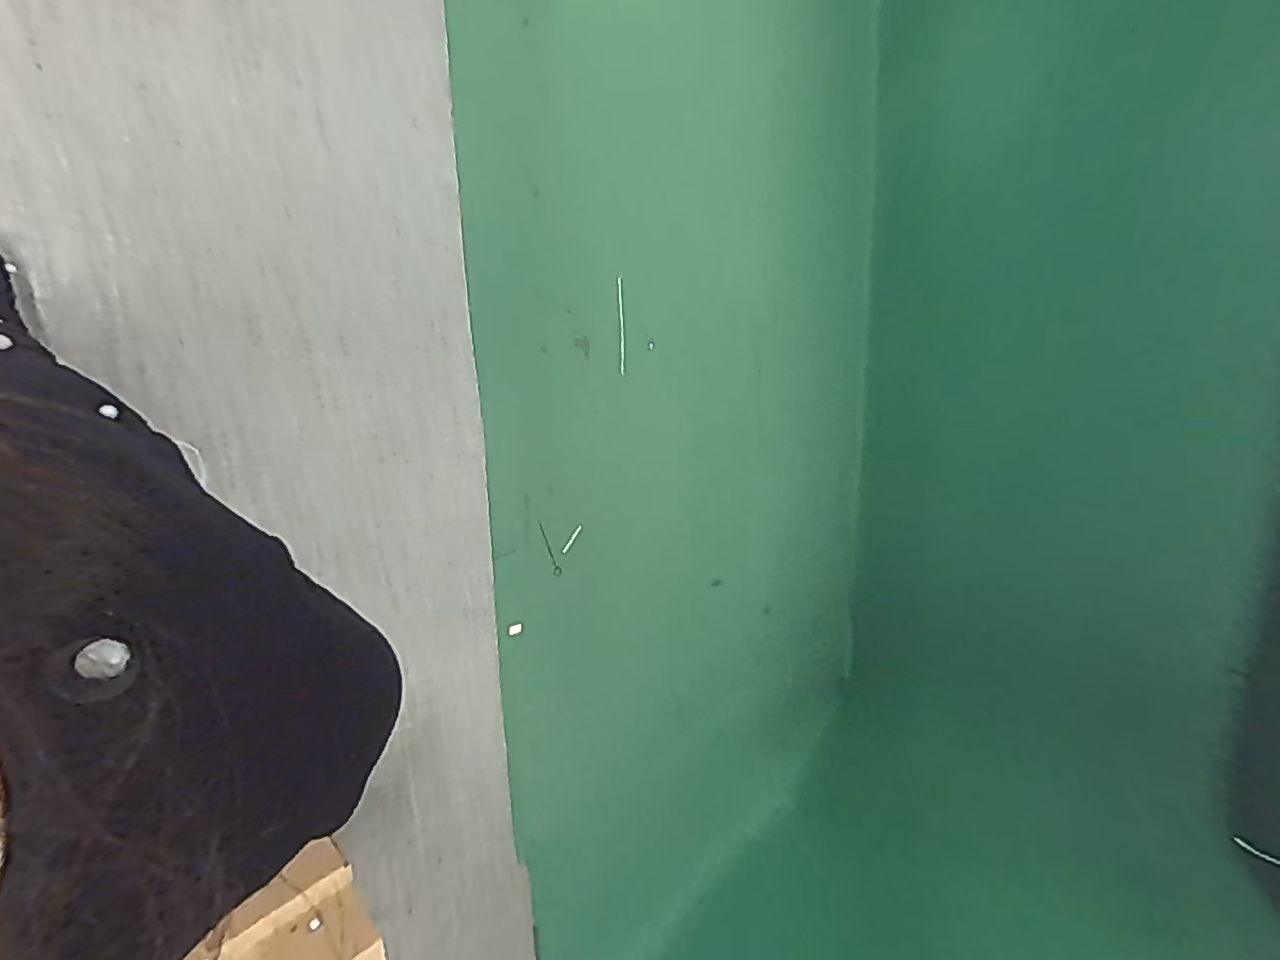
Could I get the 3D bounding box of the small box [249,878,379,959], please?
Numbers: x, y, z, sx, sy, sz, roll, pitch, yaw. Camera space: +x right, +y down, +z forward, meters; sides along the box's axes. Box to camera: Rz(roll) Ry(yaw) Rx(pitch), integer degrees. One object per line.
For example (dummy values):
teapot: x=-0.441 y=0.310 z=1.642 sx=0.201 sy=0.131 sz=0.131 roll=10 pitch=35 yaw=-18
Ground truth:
small box: x=-0.592 y=0.896 z=0.991 sx=0.168 sy=0.176 sz=0.179 roll=-12 pitch=103 yaw=-45
